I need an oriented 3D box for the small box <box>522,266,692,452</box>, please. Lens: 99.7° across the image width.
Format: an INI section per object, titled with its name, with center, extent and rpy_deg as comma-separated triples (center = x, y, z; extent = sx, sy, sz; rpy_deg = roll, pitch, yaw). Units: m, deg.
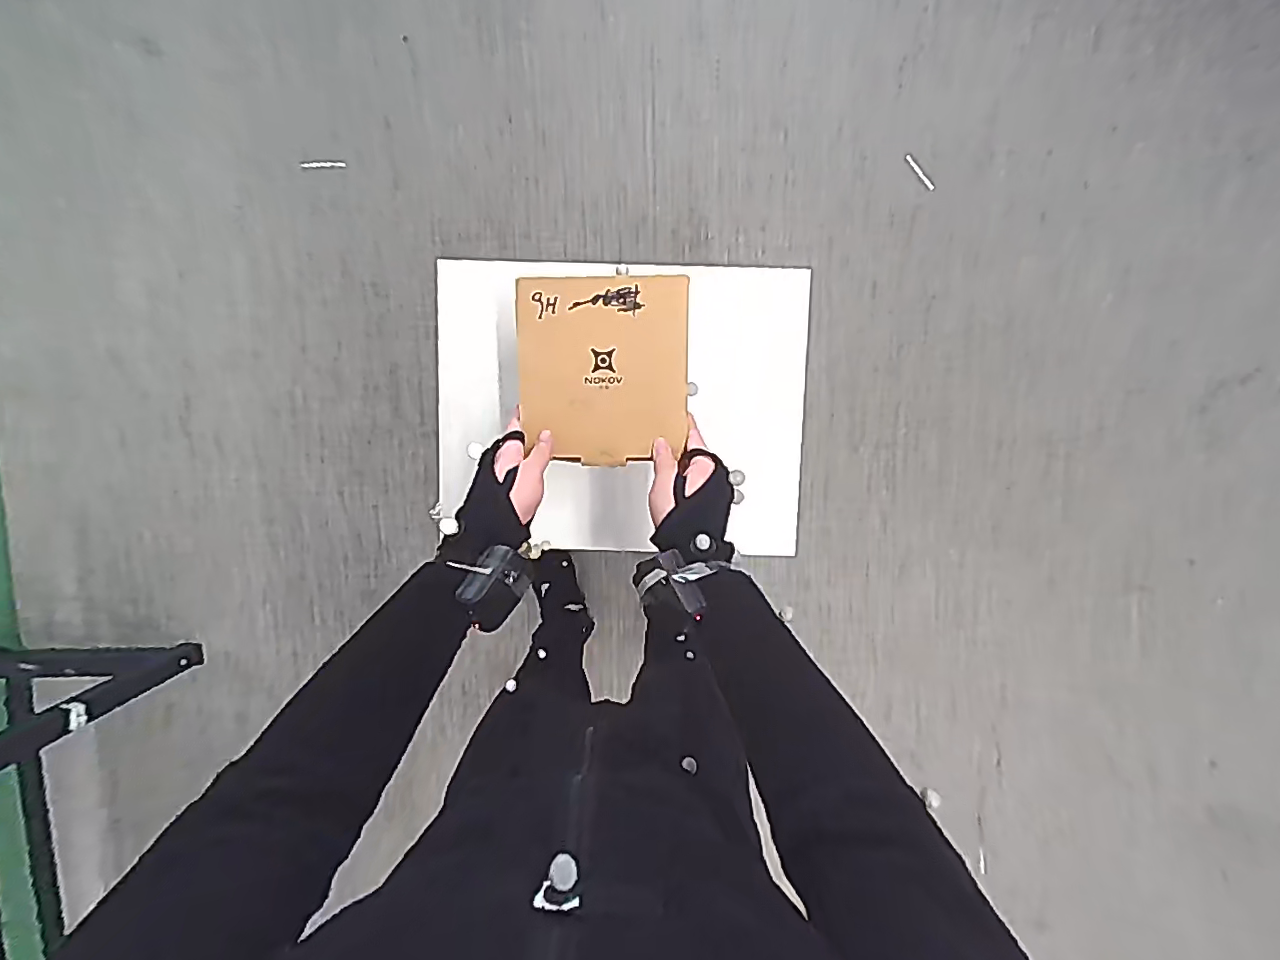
[small box]
center = -0.025, -0.127, 0.608
extent = 0.168, 0.176, 0.179
rpy_deg = -2, 97, 5
